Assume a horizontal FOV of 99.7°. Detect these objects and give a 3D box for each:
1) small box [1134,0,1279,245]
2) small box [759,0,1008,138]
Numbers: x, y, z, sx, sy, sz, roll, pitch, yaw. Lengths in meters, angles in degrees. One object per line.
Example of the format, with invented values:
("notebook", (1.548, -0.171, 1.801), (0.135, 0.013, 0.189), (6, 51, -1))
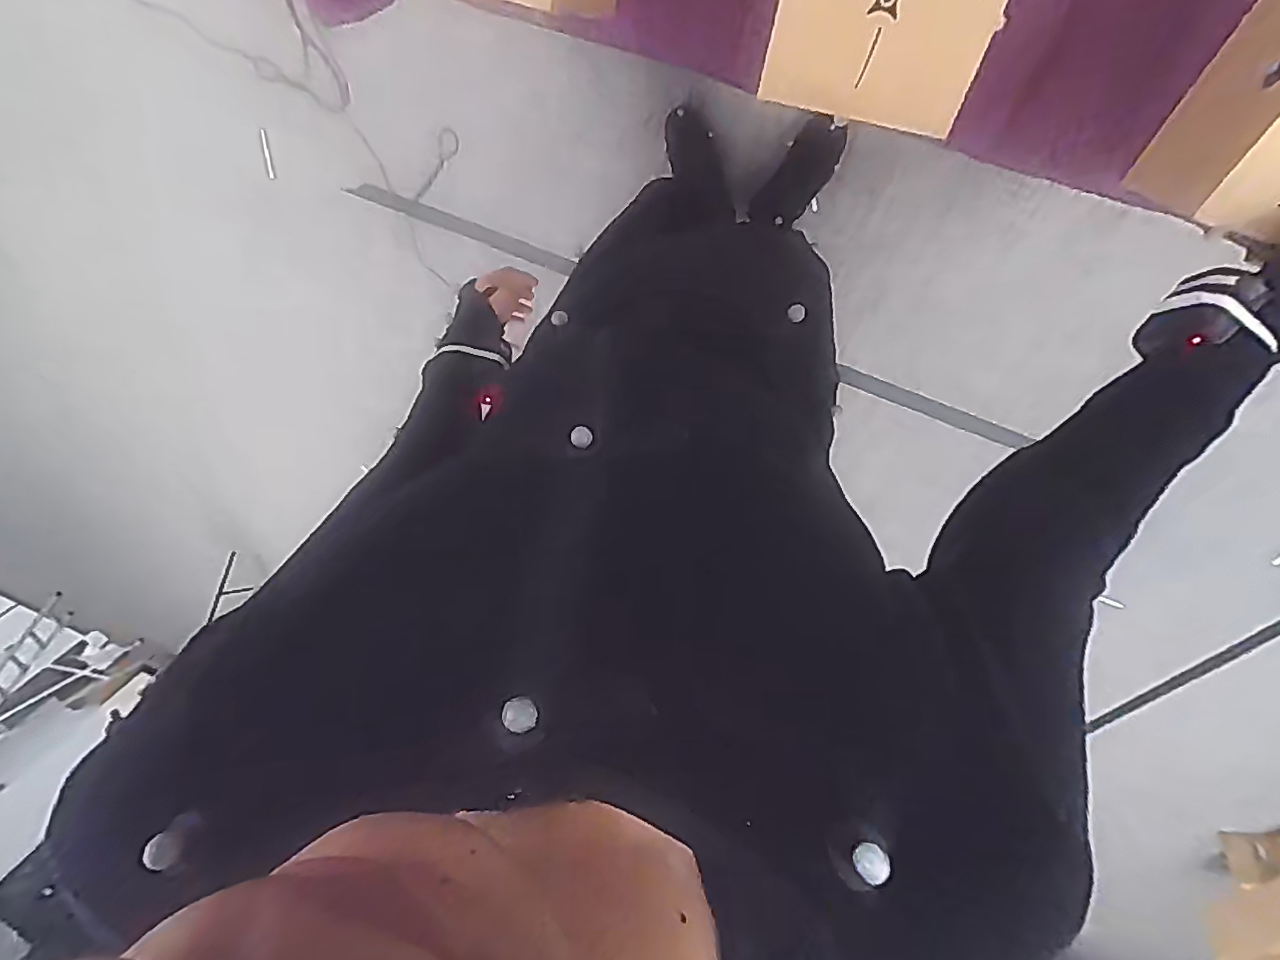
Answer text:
("small box", (0.553, -0.287, 0.423), (0.168, 0.176, 0.179), (23, 132, 6))
("small box", (0.215, -0.421, 0.462), (0.168, 0.176, 0.179), (19, 133, 9))
